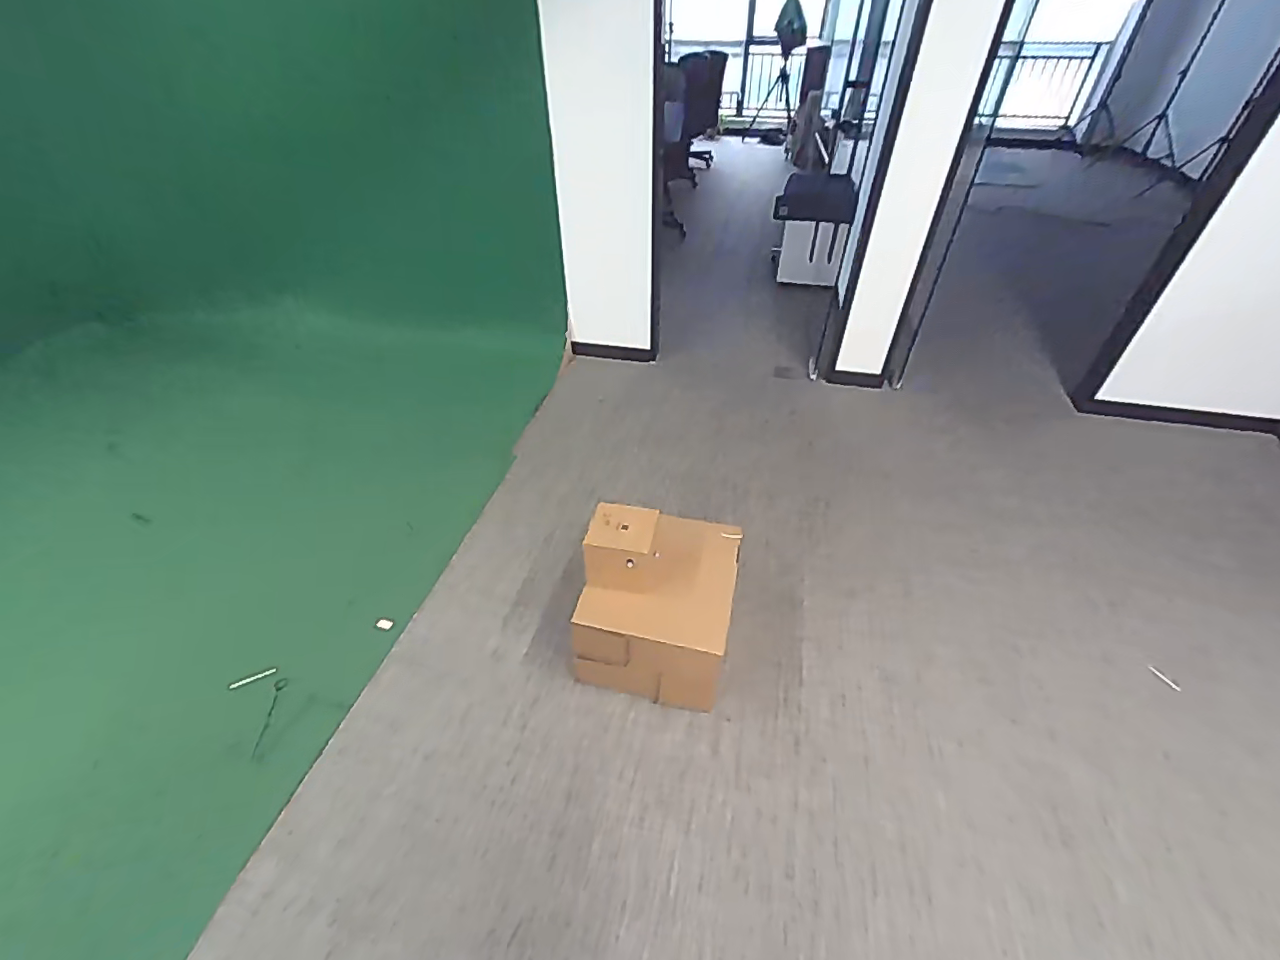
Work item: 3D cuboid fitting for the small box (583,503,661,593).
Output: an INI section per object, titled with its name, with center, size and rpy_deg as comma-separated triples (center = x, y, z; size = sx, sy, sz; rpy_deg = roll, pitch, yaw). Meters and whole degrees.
[small box]
center = -0.045, 0.188, 1.481
size = 0.179, 0.176, 0.168
rpy_deg = 8, 40, 10
